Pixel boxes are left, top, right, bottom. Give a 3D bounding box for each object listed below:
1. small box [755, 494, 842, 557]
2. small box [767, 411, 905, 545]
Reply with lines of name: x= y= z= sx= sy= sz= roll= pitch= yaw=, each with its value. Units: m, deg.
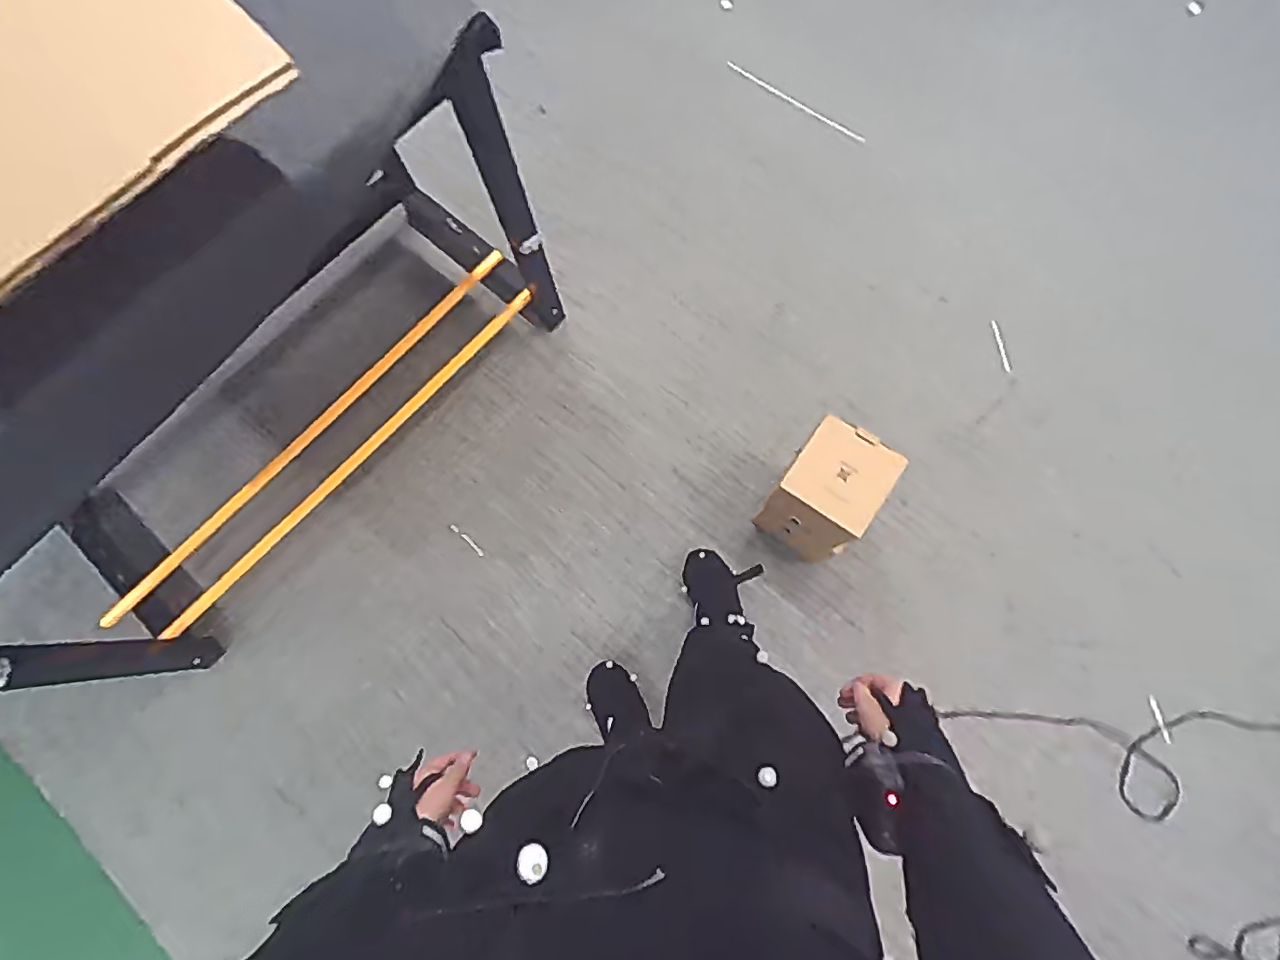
small box: x=0.374 y=0.056 z=1.195 sx=0.179 sy=0.176 sz=0.168 roll=34 pitch=79 yaw=10
small box: x=0.363 y=0.004 z=1.040 sx=0.168 sy=0.176 sz=0.179 roll=33 pitch=80 yaw=11
